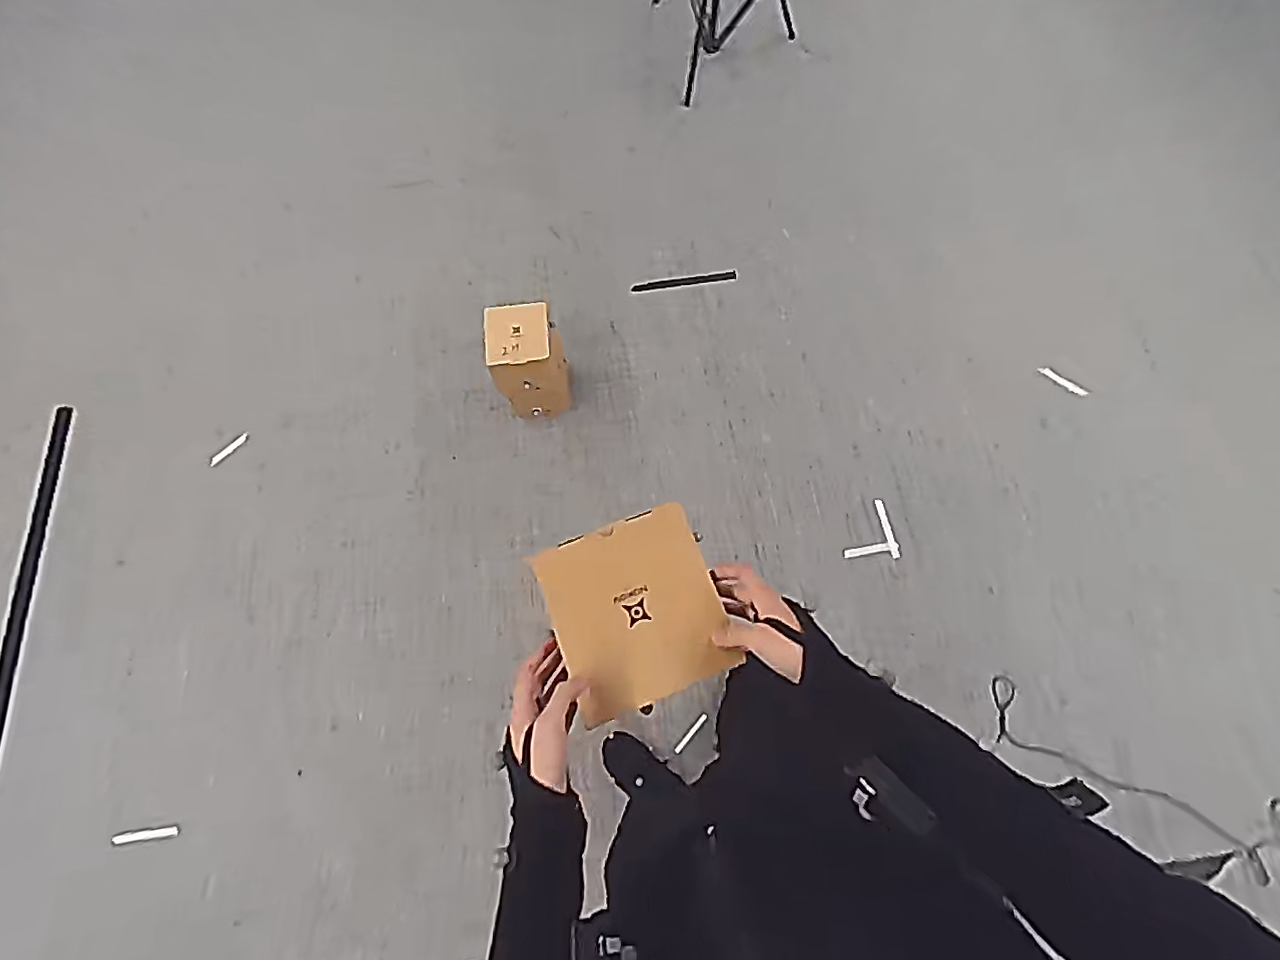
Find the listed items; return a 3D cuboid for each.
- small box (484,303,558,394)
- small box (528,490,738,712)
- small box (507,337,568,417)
[{"bbox_3d":[-0.323,-0.356,1.480,0.168,0.176,0.179,-6,72,-1],"label":"small box"},{"bbox_3d":[-0.011,0.136,0.605,0.168,0.176,0.179,-19,73,-9],"label":"small box"},{"bbox_3d":[-0.314,-0.308,1.637,0.168,0.176,0.179,-6,71,0],"label":"small box"}]
